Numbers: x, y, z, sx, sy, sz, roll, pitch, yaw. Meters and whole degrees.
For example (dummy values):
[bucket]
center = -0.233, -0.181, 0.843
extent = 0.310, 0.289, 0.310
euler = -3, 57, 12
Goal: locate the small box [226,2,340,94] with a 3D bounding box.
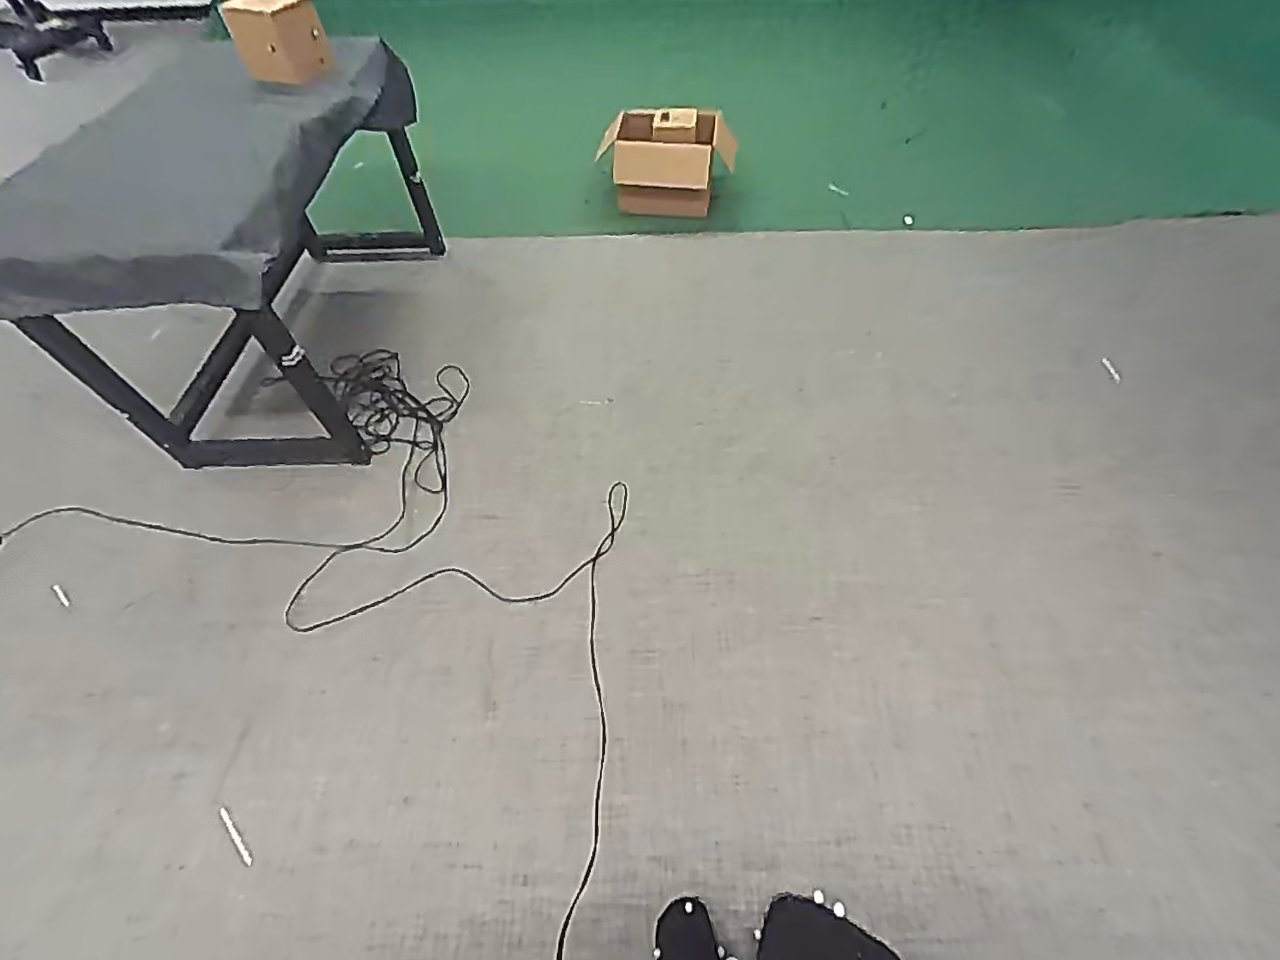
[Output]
[small box]
center = -1.011, -1.236, 1.551
extent = 0.179, 0.176, 0.168
euler = 14, 55, 13
